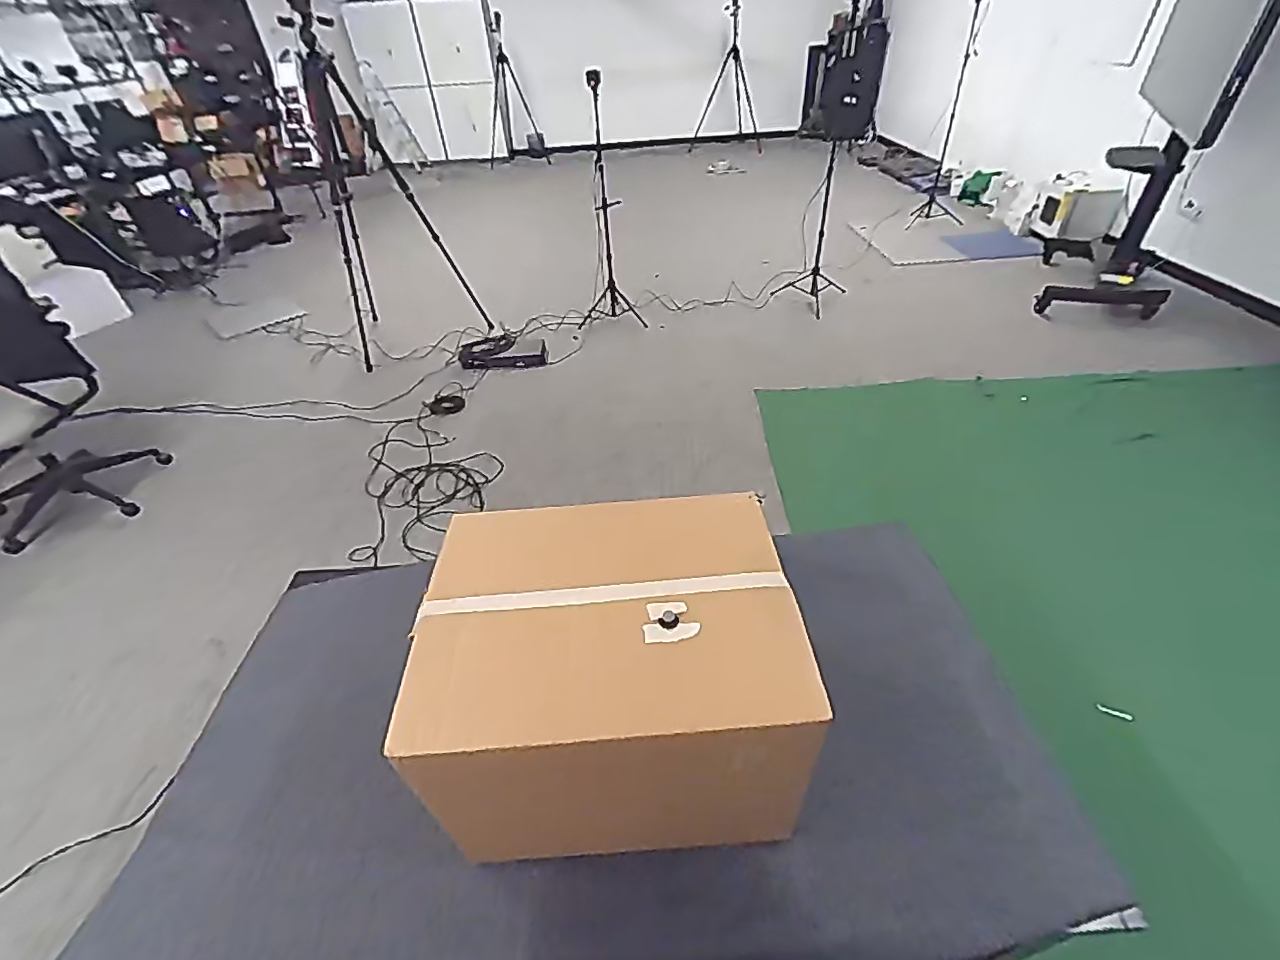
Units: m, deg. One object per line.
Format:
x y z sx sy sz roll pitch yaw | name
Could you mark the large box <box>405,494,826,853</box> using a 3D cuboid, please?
-0.026 0.247 0.708 0.408 0.320 0.320 -4 41 -1 | large box
